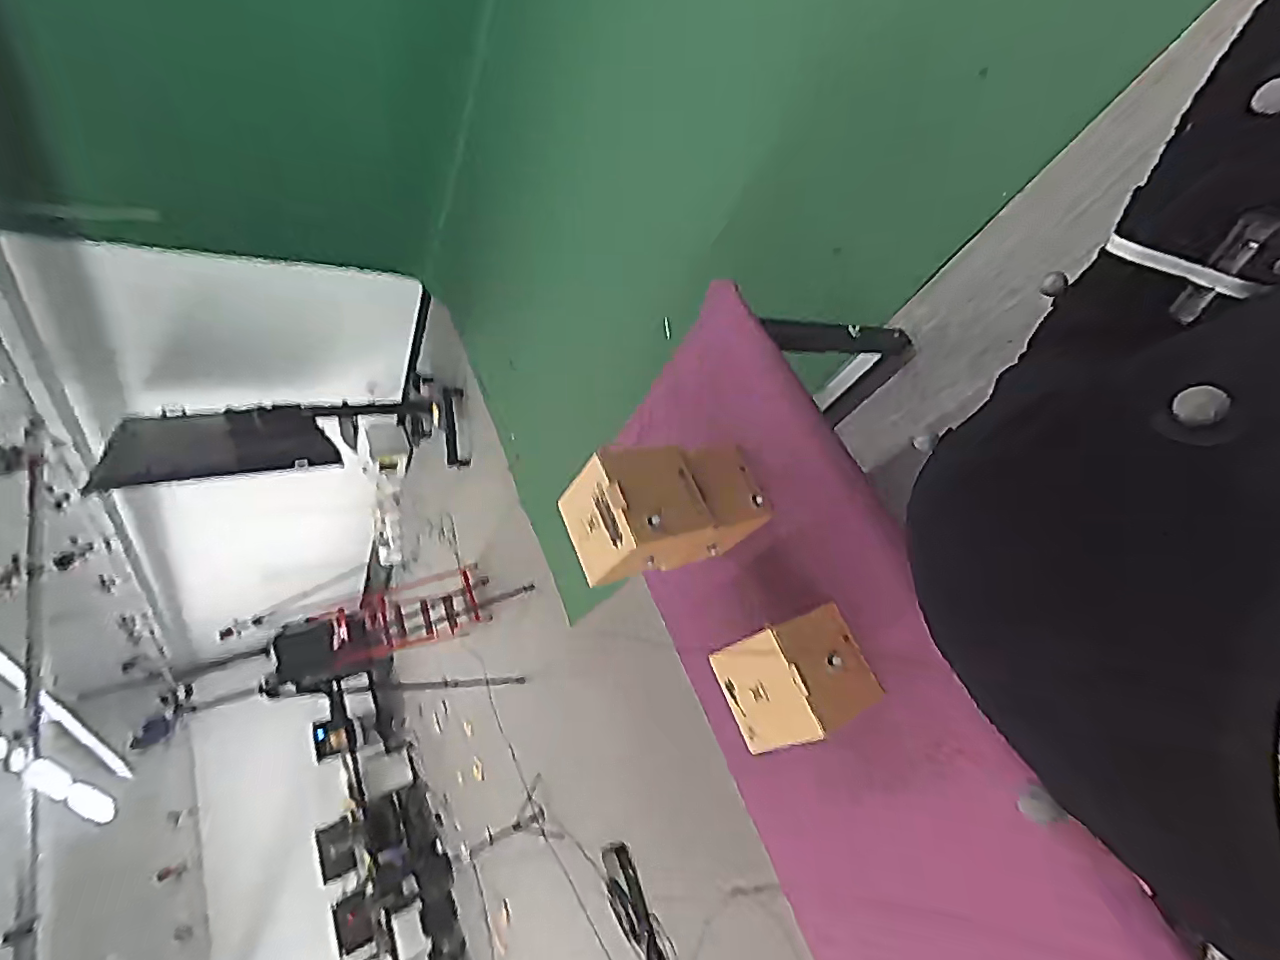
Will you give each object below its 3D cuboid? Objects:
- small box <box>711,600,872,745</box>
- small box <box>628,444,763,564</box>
[{"bbox_3d":[0.260,0.321,0.914,0.179,0.176,0.168,-46,62,46],"label":"small box"},{"bbox_3d":[0.111,0.042,1.043,0.179,0.176,0.168,-45,61,47],"label":"small box"}]
